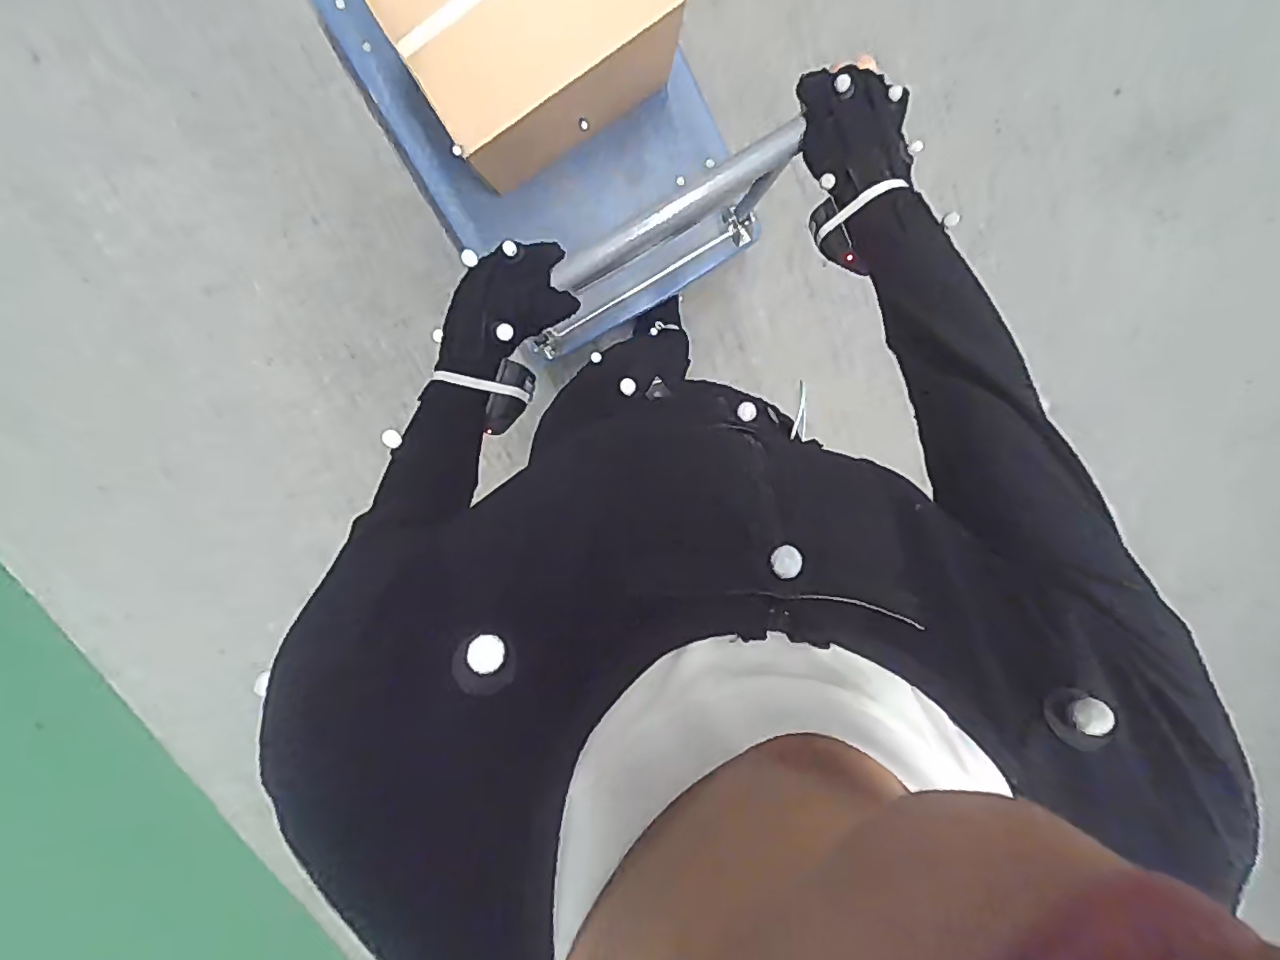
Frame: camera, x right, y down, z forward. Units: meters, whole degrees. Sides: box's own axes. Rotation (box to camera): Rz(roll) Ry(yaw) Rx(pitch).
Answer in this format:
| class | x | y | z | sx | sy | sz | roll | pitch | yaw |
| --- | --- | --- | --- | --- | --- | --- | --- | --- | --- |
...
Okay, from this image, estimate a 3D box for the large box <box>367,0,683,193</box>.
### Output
| class | x | y | z | sx | sy | sz | roll | pitch | yaw |
| --- | --- | --- | --- | --- | --- | --- | --- | --- | --- |
| large box | -0.186 | -0.772 | 0.919 | 0.408 | 0.320 | 0.320 | -32 | 105 | 7 |
